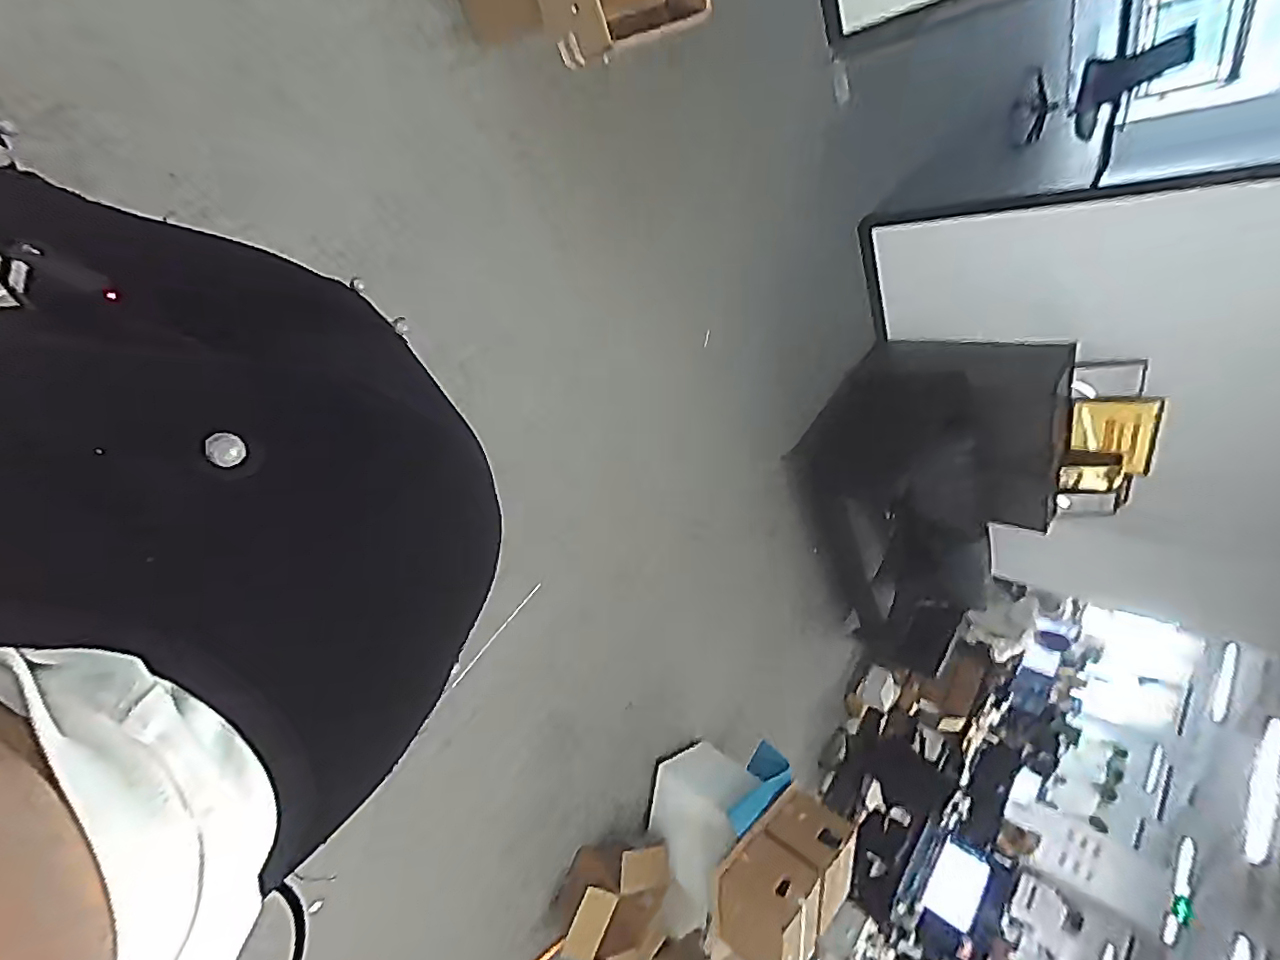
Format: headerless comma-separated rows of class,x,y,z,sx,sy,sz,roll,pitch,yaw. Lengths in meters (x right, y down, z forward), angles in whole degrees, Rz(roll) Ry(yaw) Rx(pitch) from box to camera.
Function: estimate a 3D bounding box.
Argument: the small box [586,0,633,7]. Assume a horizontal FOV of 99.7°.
small box,-0.035,-1.239,1.256,0.179,0.176,0.168,-39,127,-30
